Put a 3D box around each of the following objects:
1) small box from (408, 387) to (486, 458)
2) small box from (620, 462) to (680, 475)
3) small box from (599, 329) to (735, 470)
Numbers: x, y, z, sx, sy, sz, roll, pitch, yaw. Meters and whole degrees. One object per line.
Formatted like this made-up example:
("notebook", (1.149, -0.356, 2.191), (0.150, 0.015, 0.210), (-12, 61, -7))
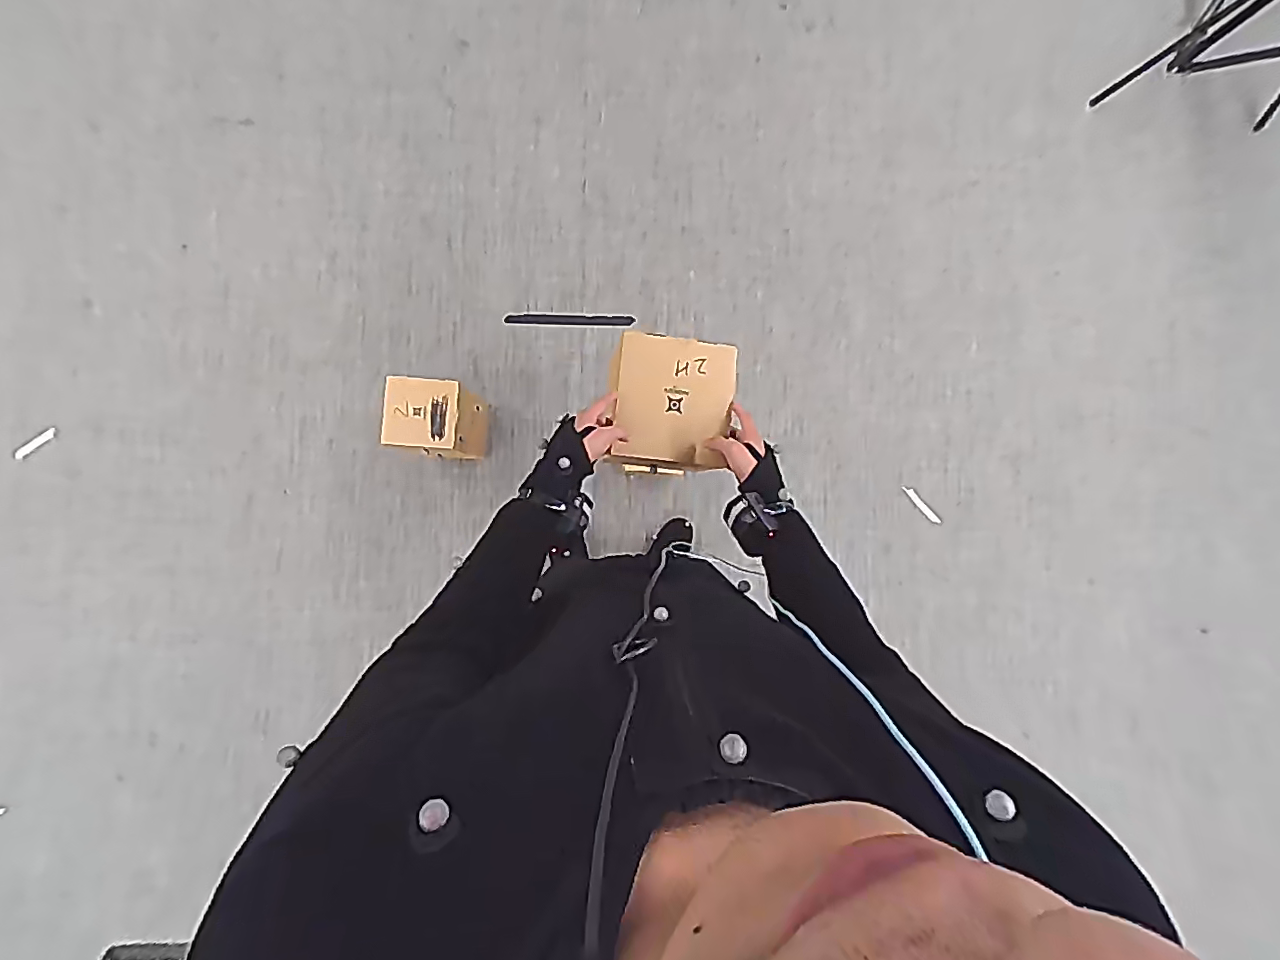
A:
("small box", (-0.539, -0.156, 1.526), (0.168, 0.176, 0.179), (3, 87, -4))
("small box", (0.031, -0.108, 1.568), (0.168, 0.176, 0.179), (5, 87, -5))
("small box", (0.032, -0.109, 0.820), (0.168, 0.176, 0.179), (6, 88, -9))
